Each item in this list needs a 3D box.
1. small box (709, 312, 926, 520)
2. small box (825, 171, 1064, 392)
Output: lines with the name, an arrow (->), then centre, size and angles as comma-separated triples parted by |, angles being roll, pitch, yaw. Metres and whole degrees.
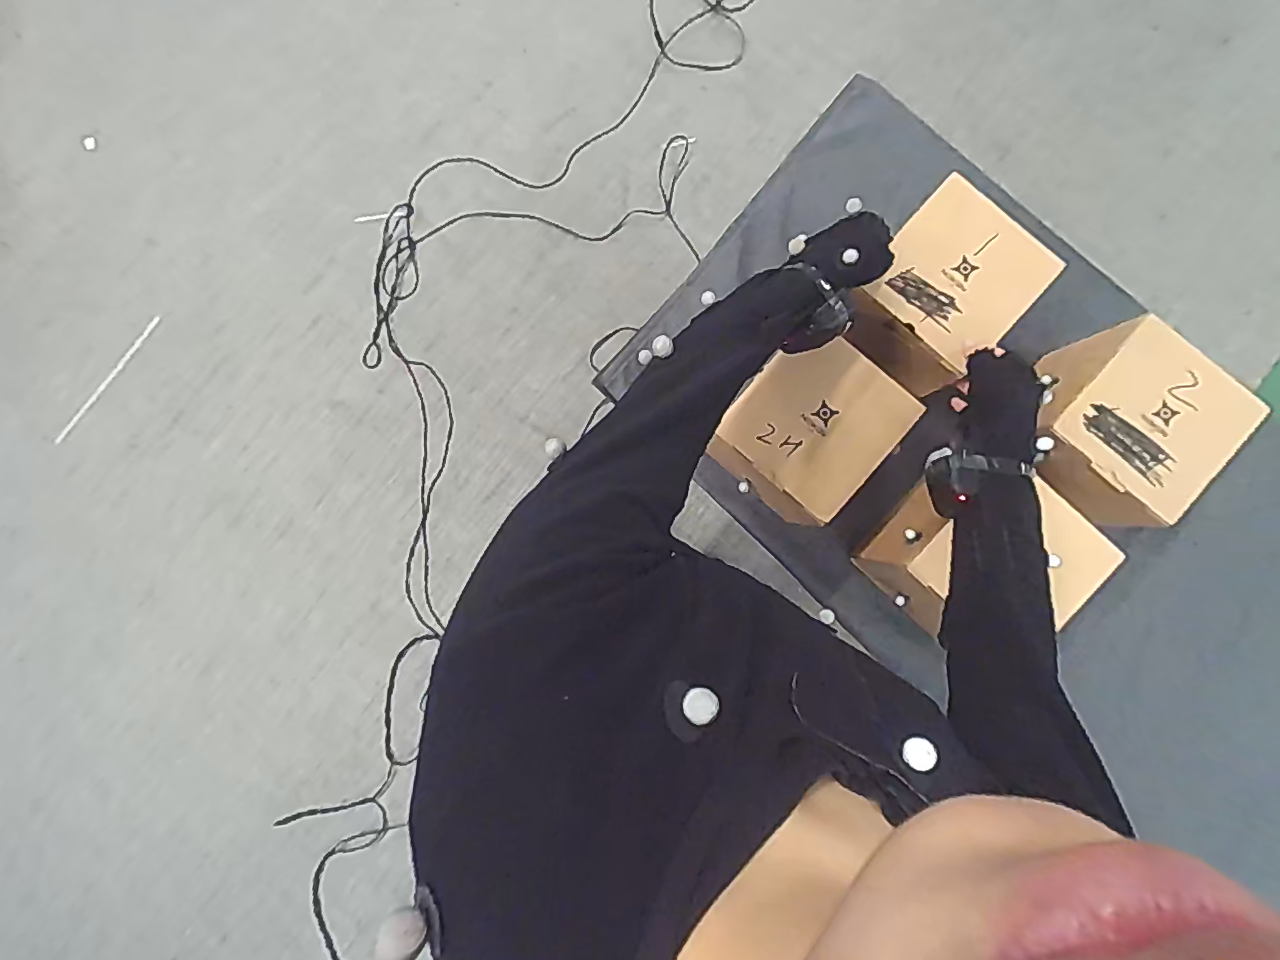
small box -> 0.202, -0.069, 0.677 | 0.168, 0.176, 0.179 | 41, 89, 4
small box -> 0.360, -0.229, 0.684 | 0.168, 0.176, 0.179 | 43, 88, 3
